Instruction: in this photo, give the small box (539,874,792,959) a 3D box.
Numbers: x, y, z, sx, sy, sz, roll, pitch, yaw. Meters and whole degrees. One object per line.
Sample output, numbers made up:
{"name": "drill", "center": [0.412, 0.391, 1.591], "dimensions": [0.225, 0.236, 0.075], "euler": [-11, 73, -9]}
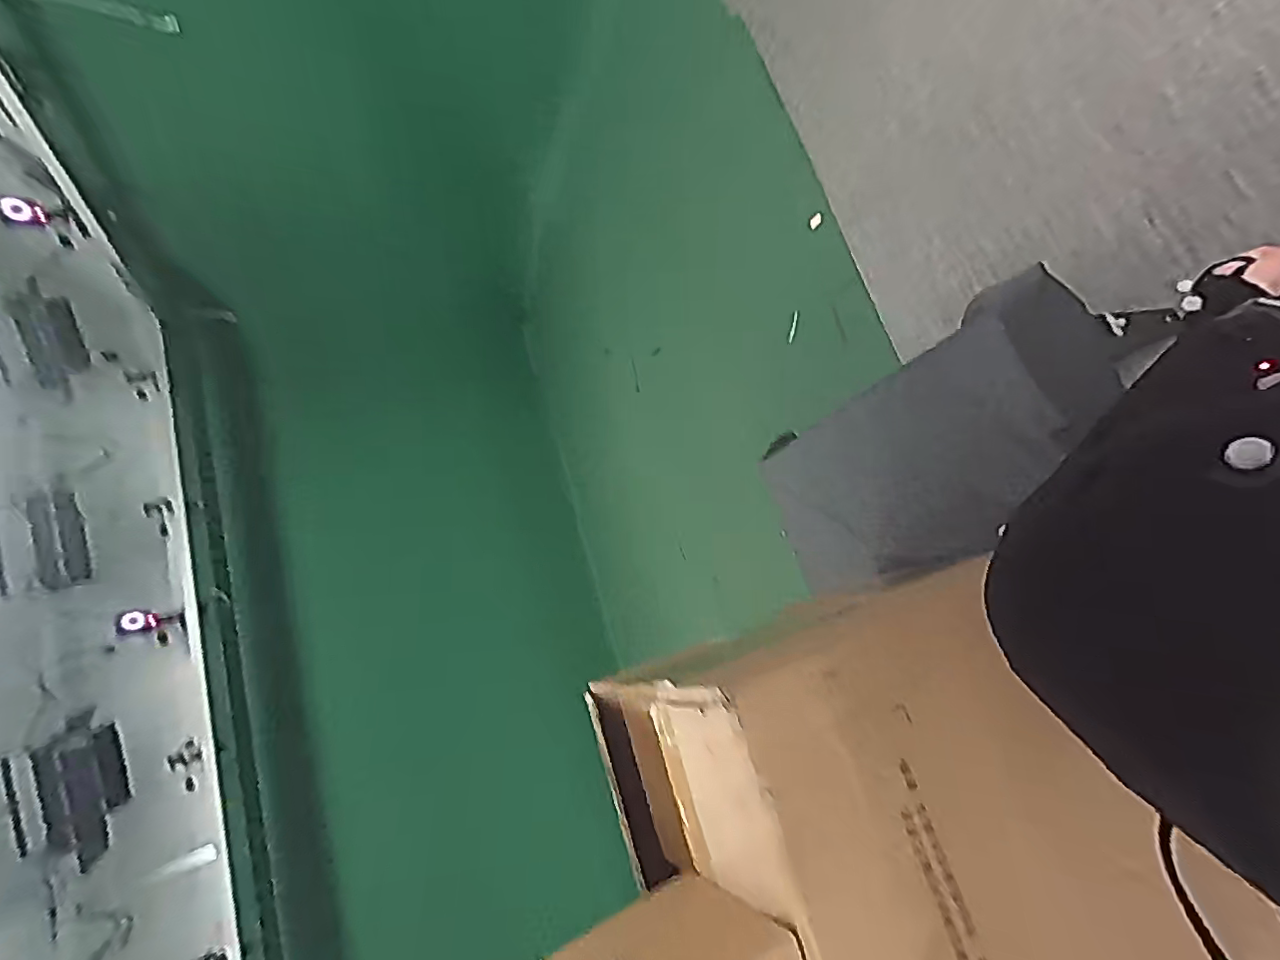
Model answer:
{"name": "small box", "center": [0.035, 0.466, 0.440], "dimensions": [0.179, 0.176, 0.168], "euler": [-41, 64, 59]}
